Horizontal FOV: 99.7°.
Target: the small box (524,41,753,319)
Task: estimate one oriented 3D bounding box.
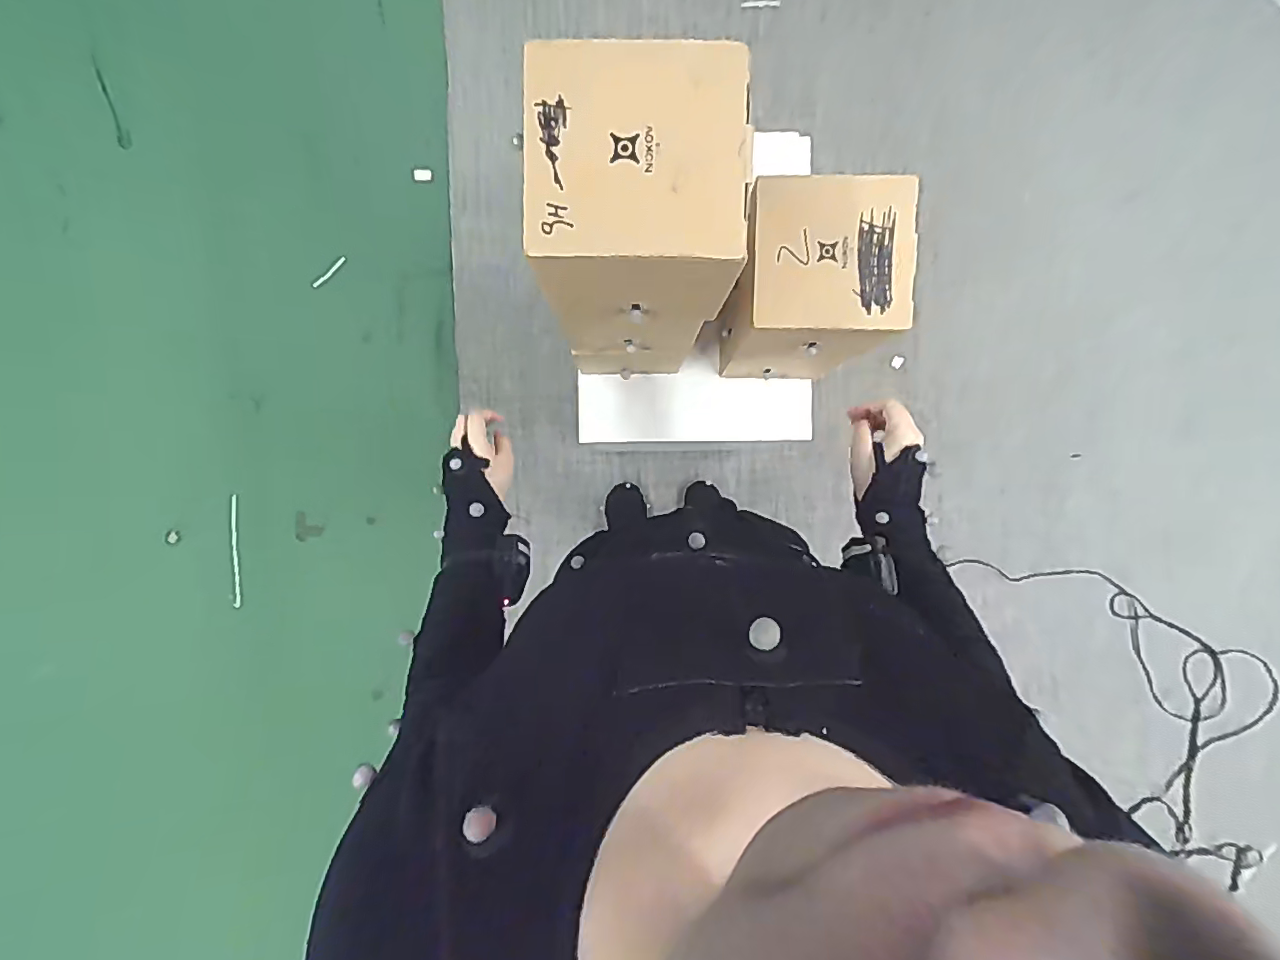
[{"bbox_3d":[-0.003,-0.254,0.498,0.179,0.176,0.168,1,91,-1],"label":"small box"}]

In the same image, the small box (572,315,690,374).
[{"bbox_3d":[-0.014,-0.264,0.827,0.168,0.176,0.179,-1,92,0],"label":"small box"}]

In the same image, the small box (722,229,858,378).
[{"bbox_3d":[0.218,-0.259,0.826,0.168,0.176,0.179,1,92,1],"label":"small box"}]
